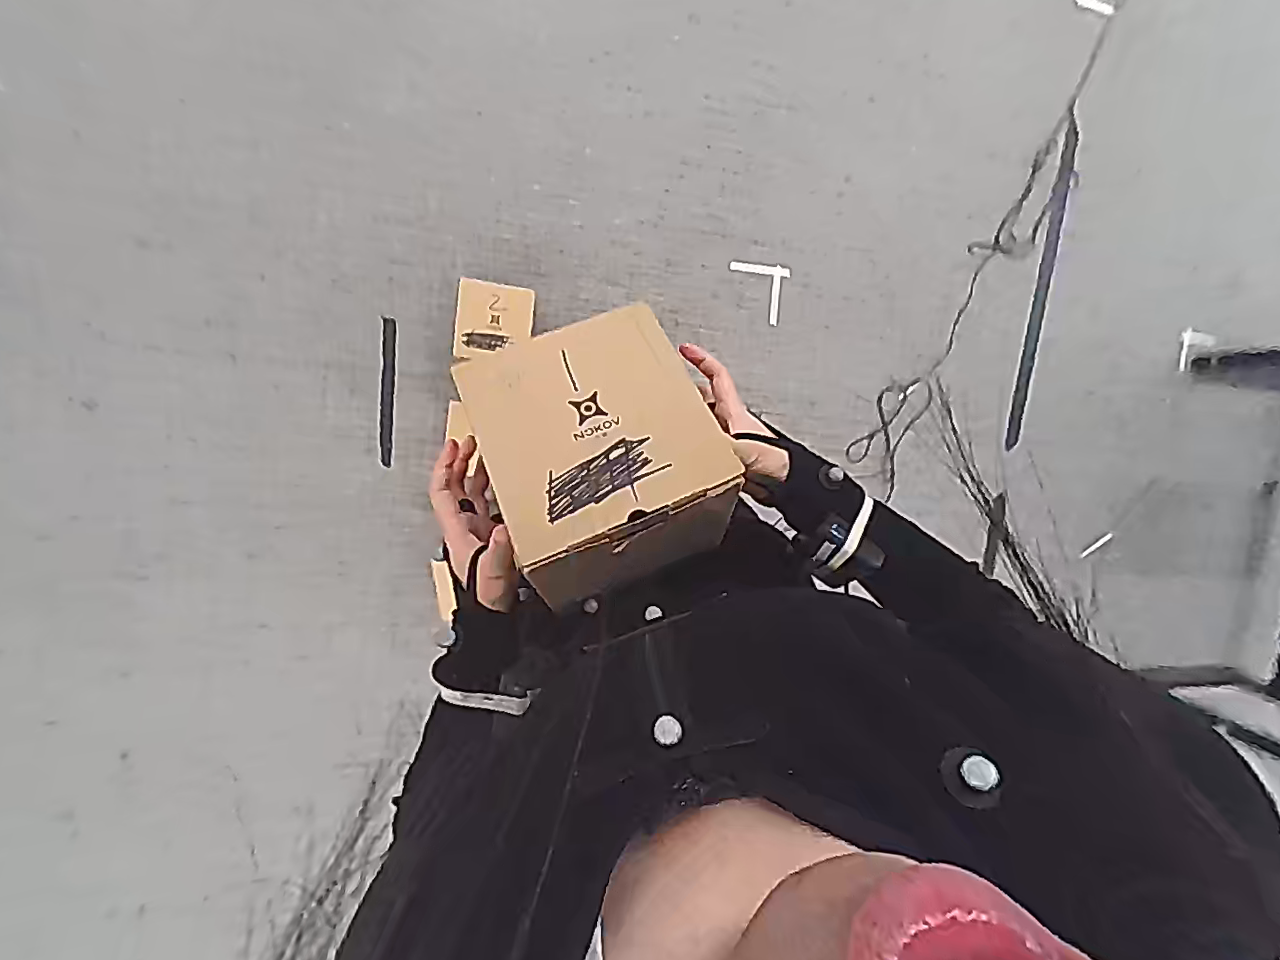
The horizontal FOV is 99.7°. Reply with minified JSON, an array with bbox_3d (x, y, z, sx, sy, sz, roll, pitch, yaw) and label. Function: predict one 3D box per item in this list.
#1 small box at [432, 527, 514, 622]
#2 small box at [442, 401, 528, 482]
[{"bbox_3d":[-0.409,0.229,1.351,0.168,0.176,0.179,-8,100,-11],"label":"small box"},{"bbox_3d":[-0.371,-0.096,1.315,0.179,0.176,0.168,7,96,-13],"label":"small box"}]
